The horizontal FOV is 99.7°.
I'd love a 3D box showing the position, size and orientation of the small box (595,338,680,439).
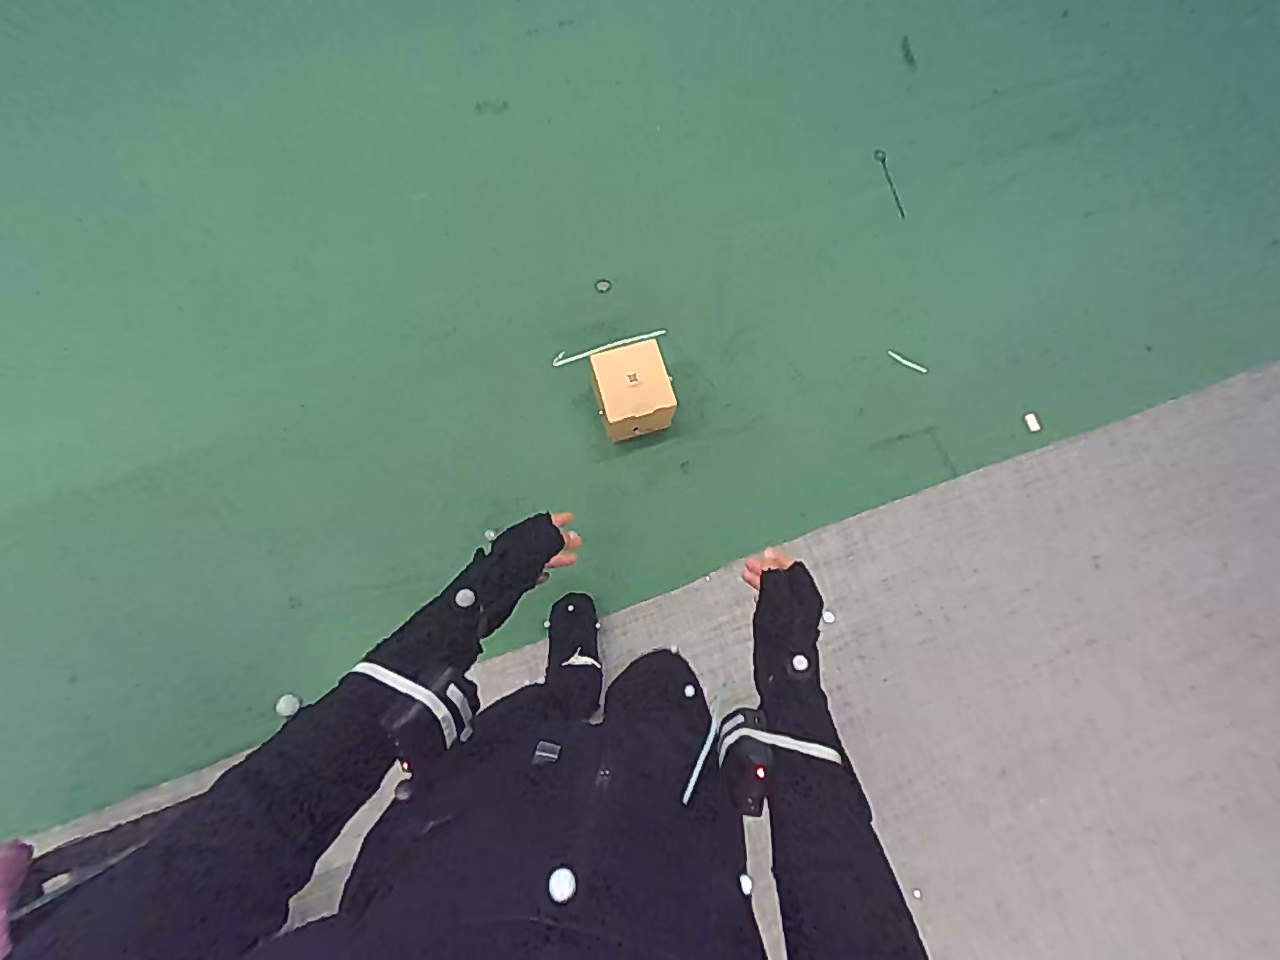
[{"bbox_3d":[-0.013,-0.222,1.346,0.168,0.176,0.179,-17,81,-6],"label":"small box"}]
